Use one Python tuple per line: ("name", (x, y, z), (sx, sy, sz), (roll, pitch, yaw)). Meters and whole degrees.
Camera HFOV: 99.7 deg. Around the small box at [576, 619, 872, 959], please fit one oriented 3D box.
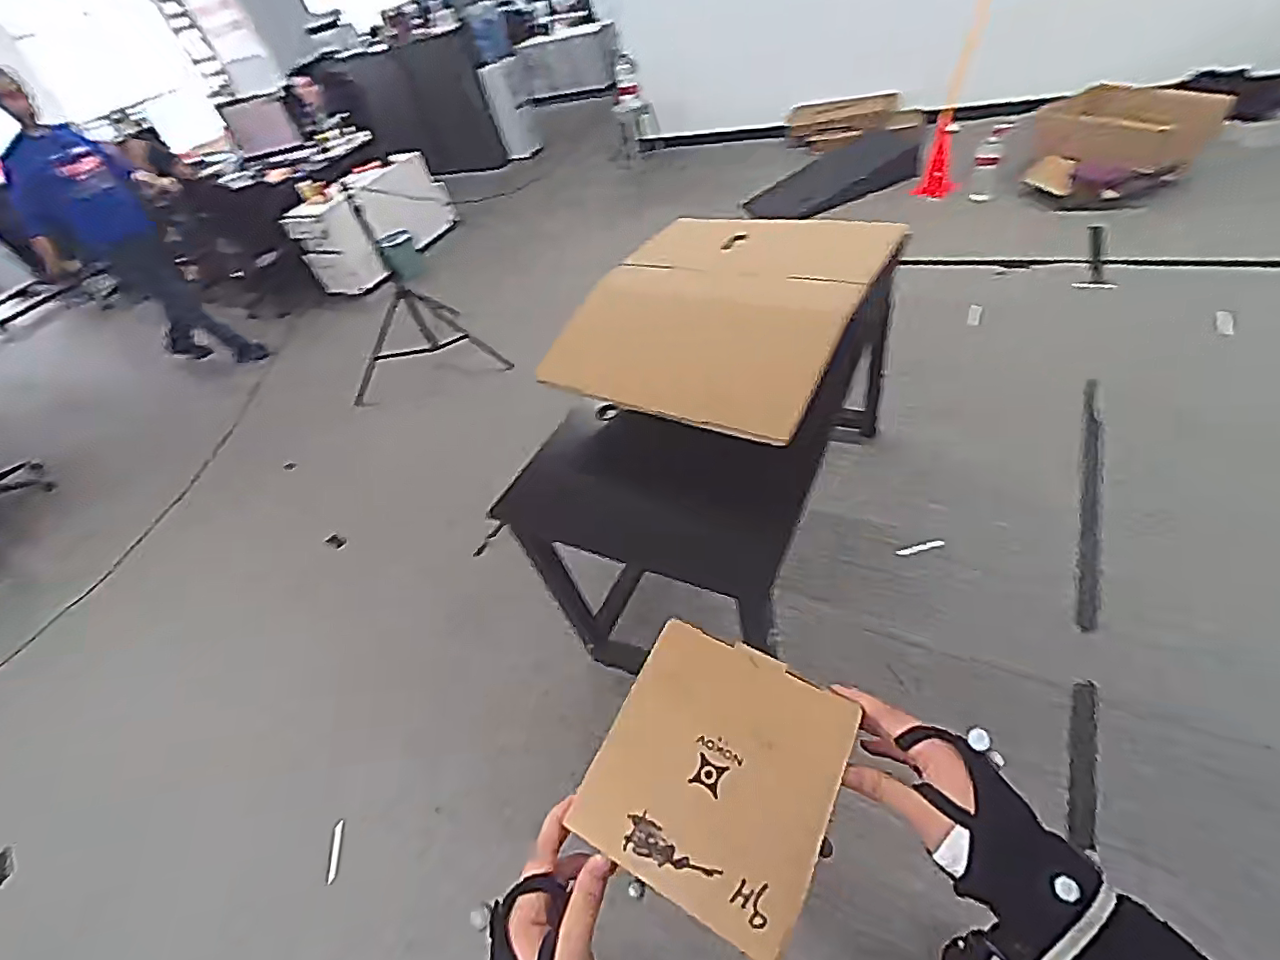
("small box", (0.074, 0.257, 0.461), (0.168, 0.176, 0.179), (21, 60, 25))
